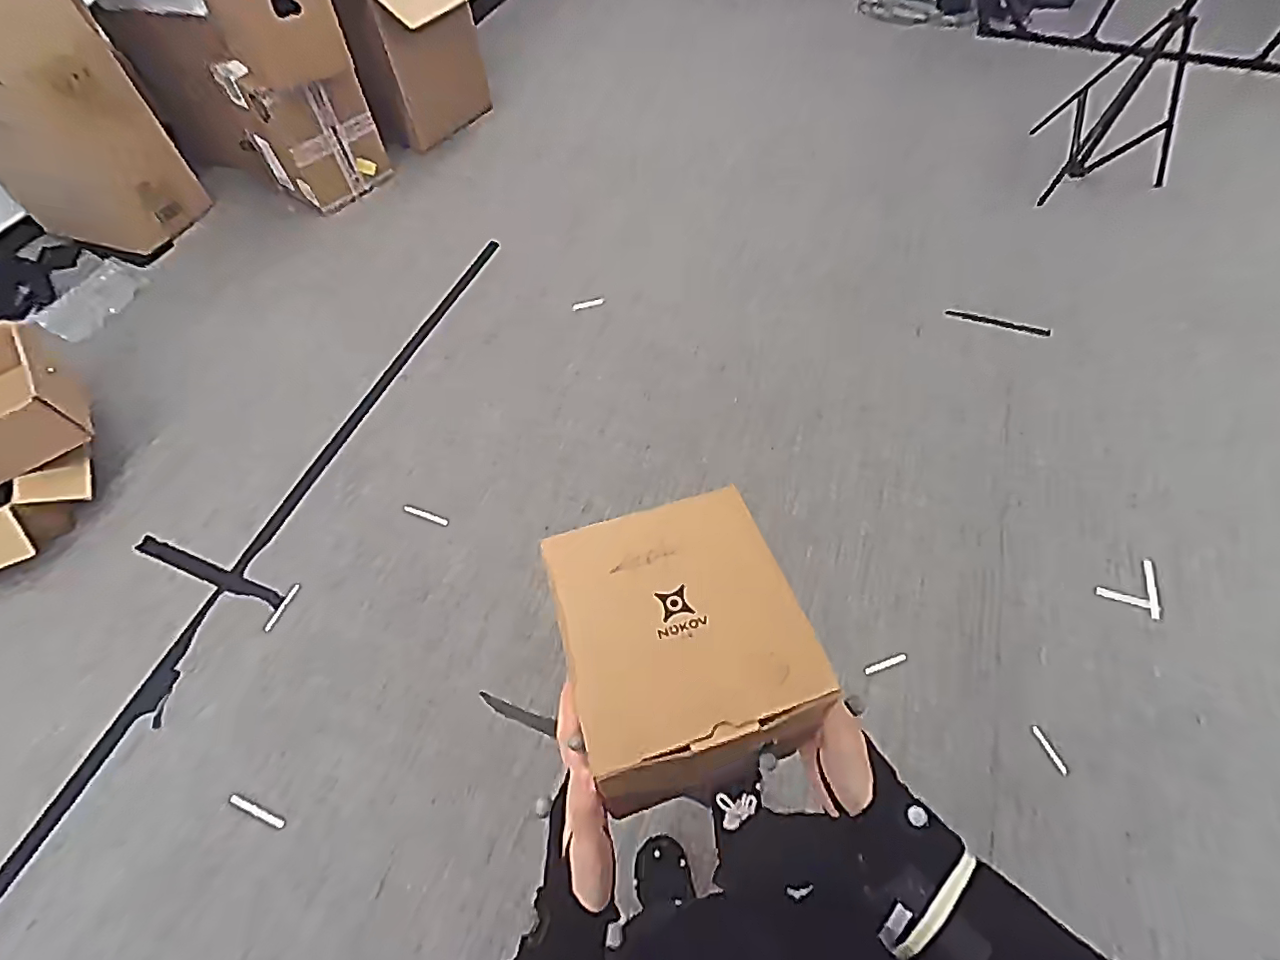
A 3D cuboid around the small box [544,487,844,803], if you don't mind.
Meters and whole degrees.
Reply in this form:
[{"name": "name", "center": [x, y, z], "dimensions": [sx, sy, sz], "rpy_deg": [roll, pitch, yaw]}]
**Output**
[{"name": "small box", "center": [0.031, 0.139, 0.438], "dimensions": [0.168, 0.176, 0.179], "rpy_deg": [-15, 51, -10]}]
